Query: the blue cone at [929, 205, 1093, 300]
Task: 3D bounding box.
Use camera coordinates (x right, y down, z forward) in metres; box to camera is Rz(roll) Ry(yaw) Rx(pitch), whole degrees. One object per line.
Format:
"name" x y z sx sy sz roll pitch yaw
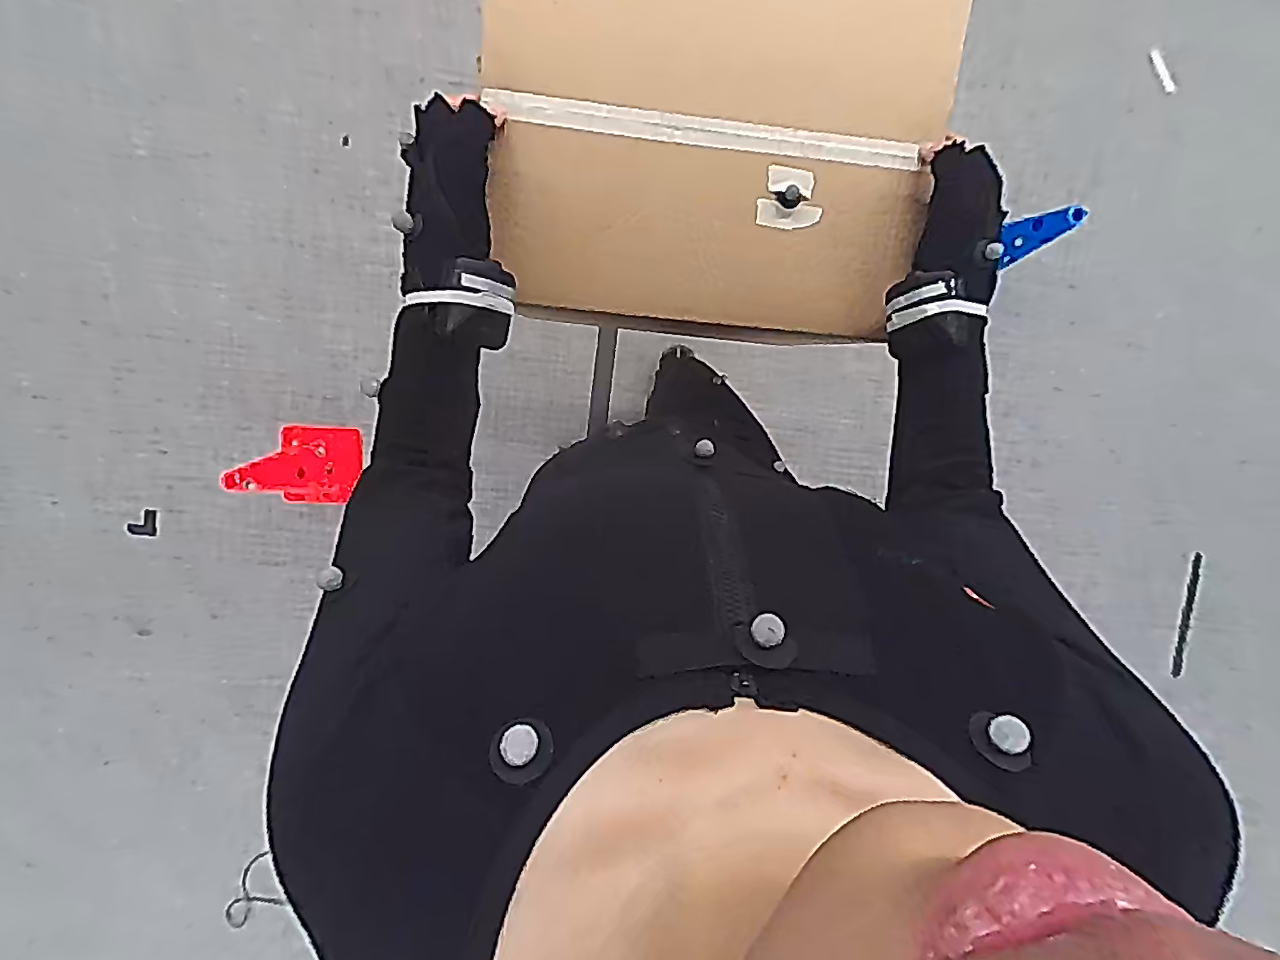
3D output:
"blue cone" 0.894 -0.574 1.299 0.192 0.380 0.193 9 96 -6

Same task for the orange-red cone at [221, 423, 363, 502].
"orange-red cone" -0.806 -0.020 1.225 0.198 0.360 0.199 3 98 -4

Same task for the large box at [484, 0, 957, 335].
"large box" 0.054 -0.344 0.617 0.408 0.320 0.320 4 103 -6
